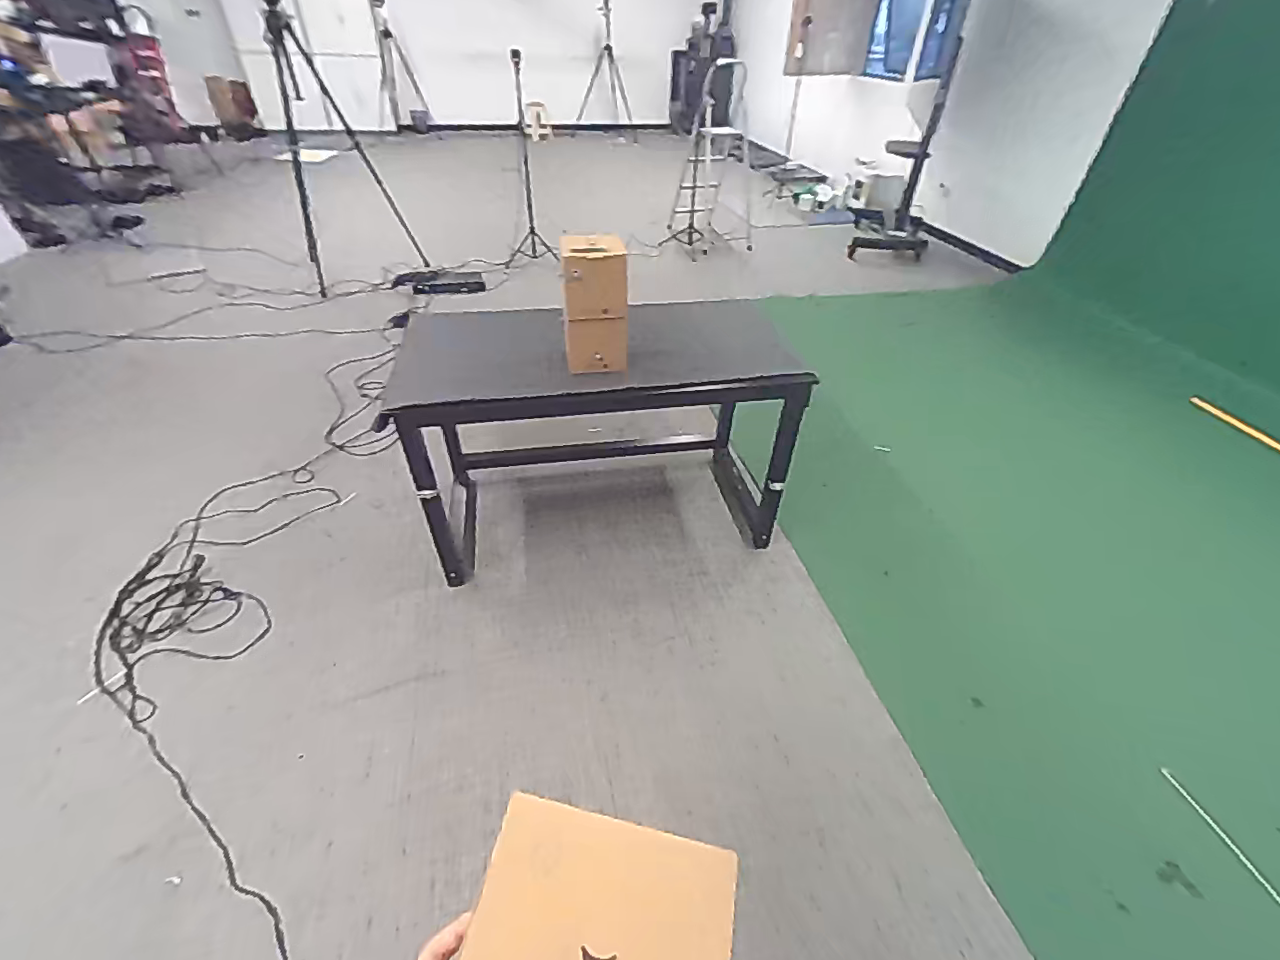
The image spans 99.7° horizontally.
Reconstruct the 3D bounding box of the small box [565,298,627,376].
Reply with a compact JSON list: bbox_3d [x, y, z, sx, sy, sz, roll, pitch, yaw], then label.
[{"bbox_3d":[-0.132,-0.420,1.579,0.168,0.176,0.179,-5,40,-8],"label":"small box"}]
